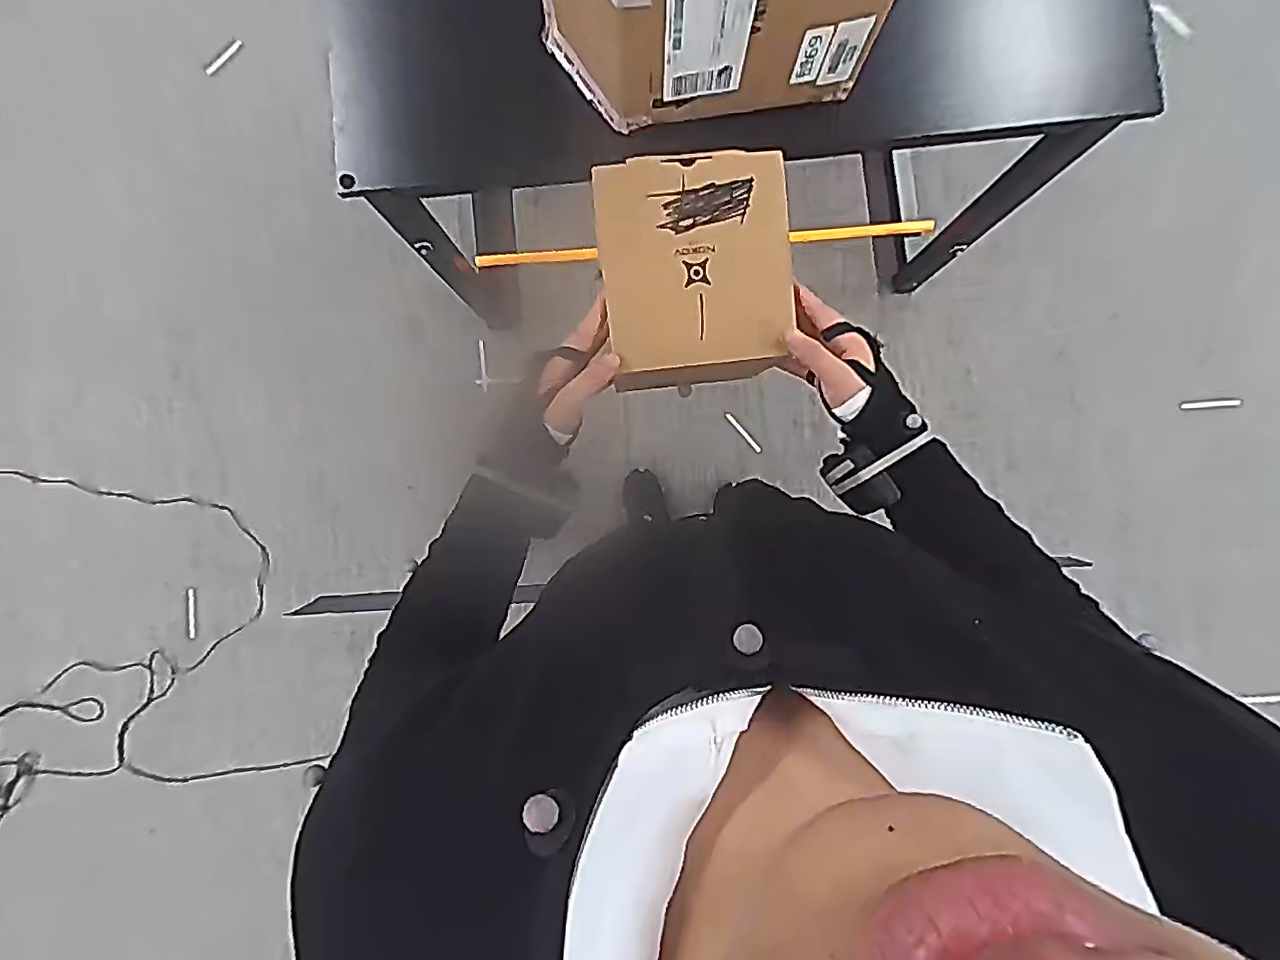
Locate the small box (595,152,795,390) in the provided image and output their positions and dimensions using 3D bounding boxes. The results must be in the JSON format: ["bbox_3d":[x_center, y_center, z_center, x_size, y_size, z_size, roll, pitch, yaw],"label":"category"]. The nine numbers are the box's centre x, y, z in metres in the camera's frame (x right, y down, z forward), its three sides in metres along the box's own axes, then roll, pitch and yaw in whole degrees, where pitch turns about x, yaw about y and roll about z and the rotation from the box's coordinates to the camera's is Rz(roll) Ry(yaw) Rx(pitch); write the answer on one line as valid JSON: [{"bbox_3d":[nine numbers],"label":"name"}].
[{"bbox_3d":[0.044,-0.194,0.548,0.168,0.176,0.179,-6,94,-2],"label":"small box"}]
